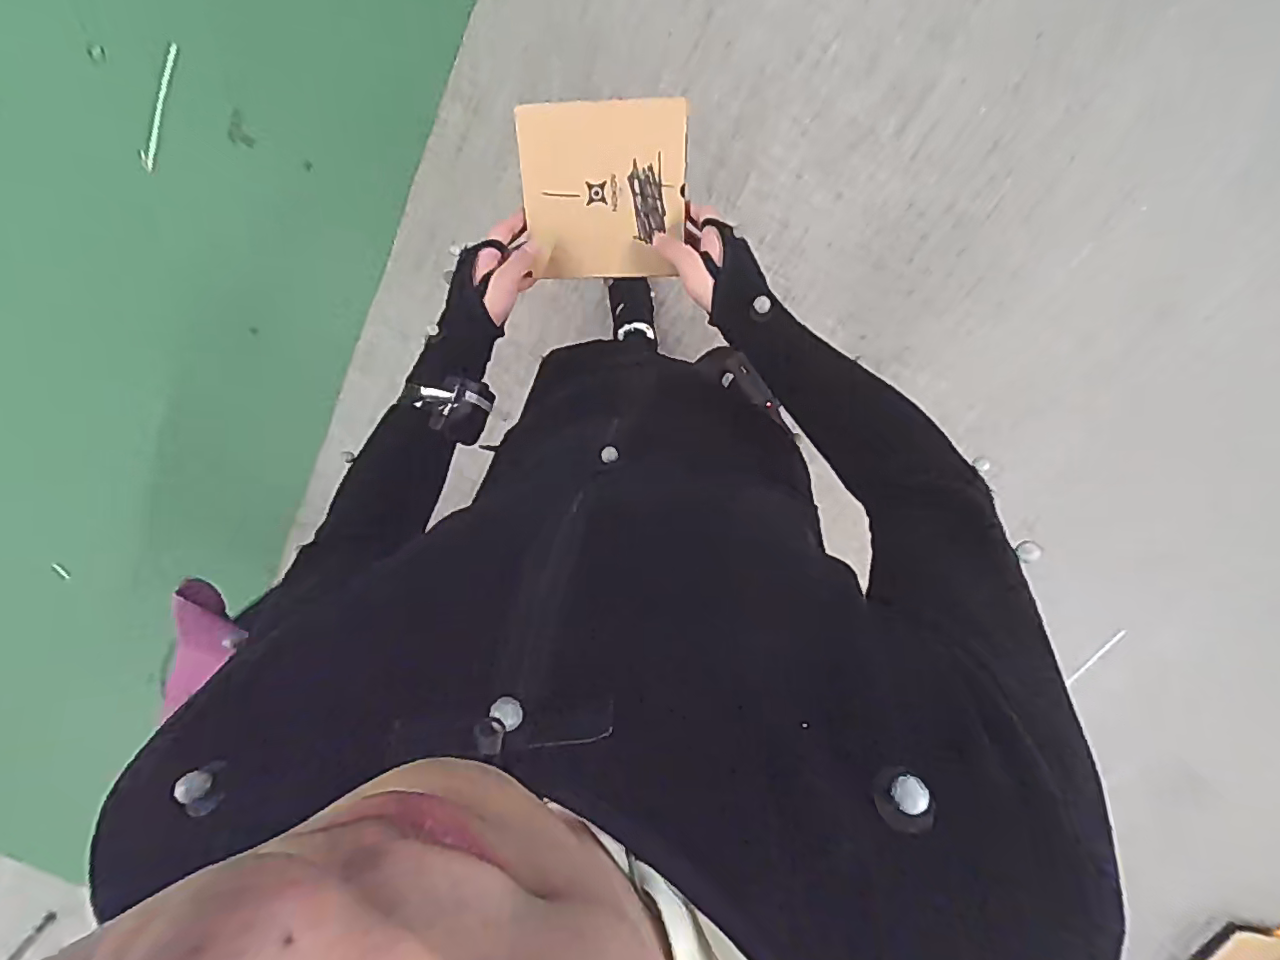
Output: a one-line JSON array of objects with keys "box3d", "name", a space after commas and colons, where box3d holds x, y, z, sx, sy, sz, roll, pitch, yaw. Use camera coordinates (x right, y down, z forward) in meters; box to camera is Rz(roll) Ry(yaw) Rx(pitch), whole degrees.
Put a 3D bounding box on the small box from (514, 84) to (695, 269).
[{"box3d": [-0.031, -0.339, 0.620, 0.179, 0.176, 0.168, 0, 116, 3], "name": "small box"}]
